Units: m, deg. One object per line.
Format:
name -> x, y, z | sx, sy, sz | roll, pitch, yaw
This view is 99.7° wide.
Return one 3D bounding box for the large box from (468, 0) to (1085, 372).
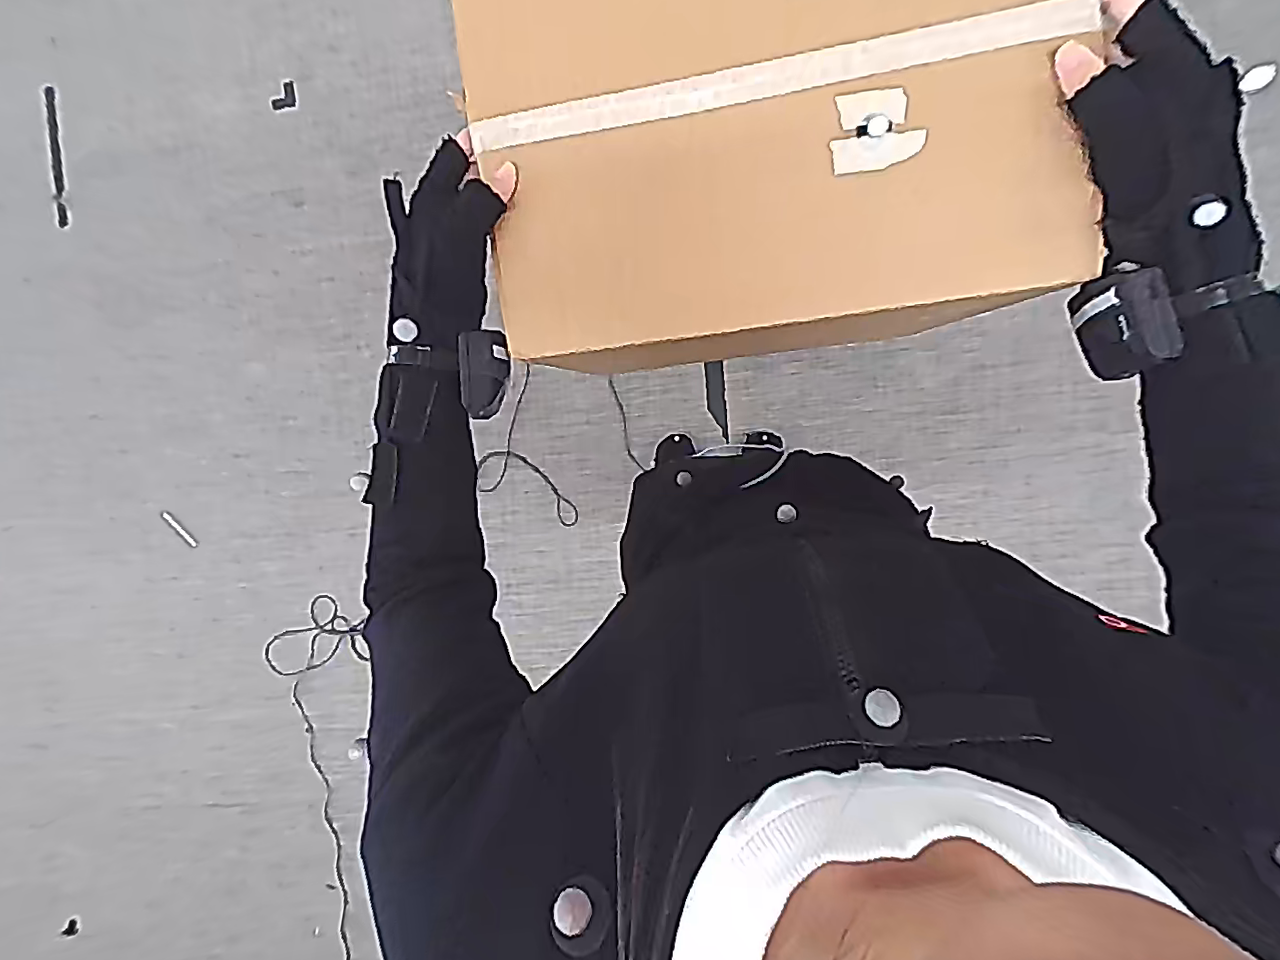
large box -> 0.100, -0.293, 0.517 | 0.408, 0.320, 0.320 | -7, 98, 7
